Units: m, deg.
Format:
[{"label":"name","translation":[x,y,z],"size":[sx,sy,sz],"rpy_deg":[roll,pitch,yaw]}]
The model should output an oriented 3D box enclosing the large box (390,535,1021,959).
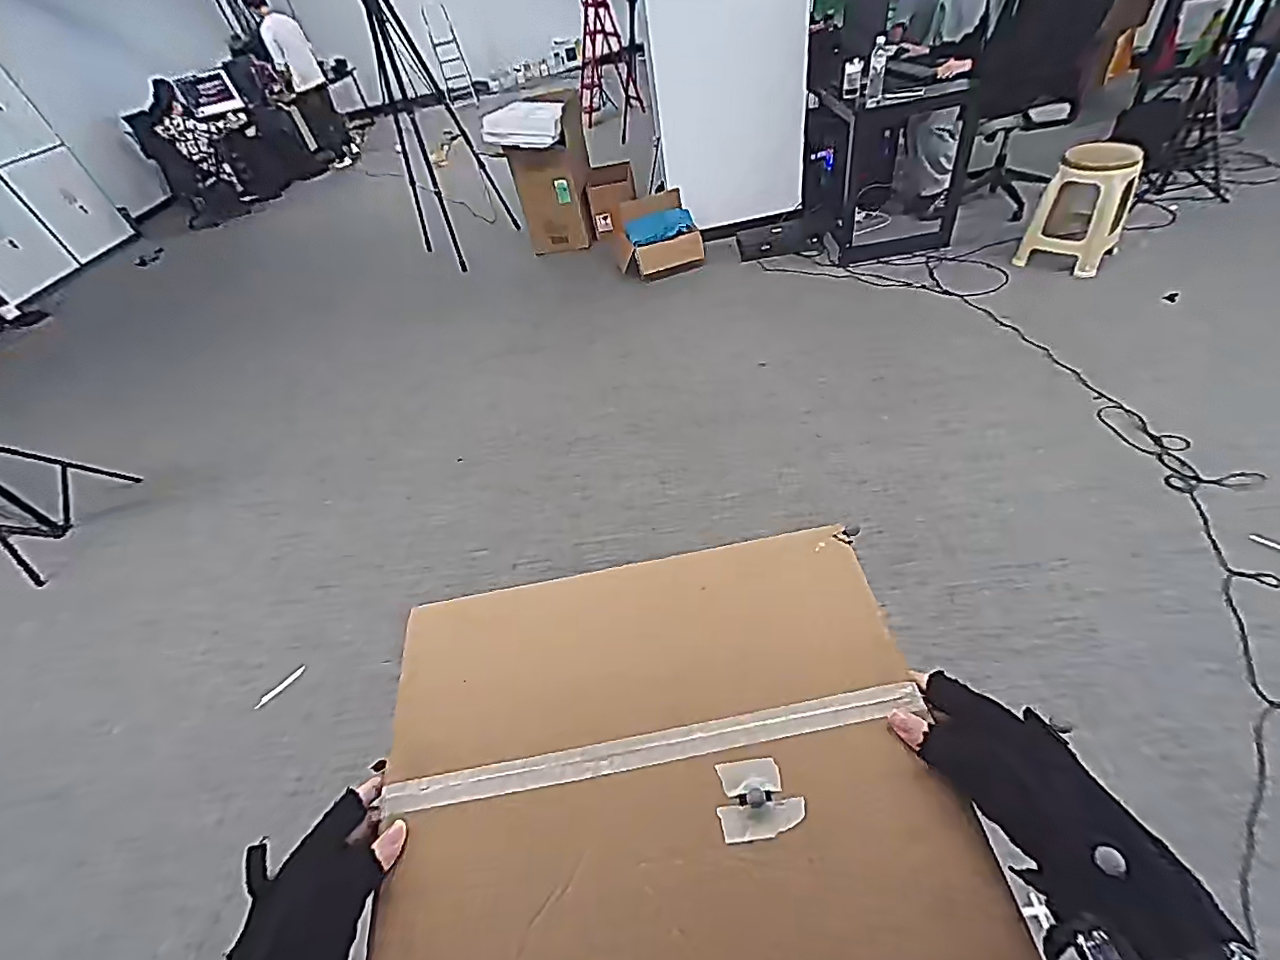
[{"label":"large box","translation":[0.031,0.299,0.530],"size":[0.408,0.320,0.320],"rpy_deg":[-11,52,0]}]
